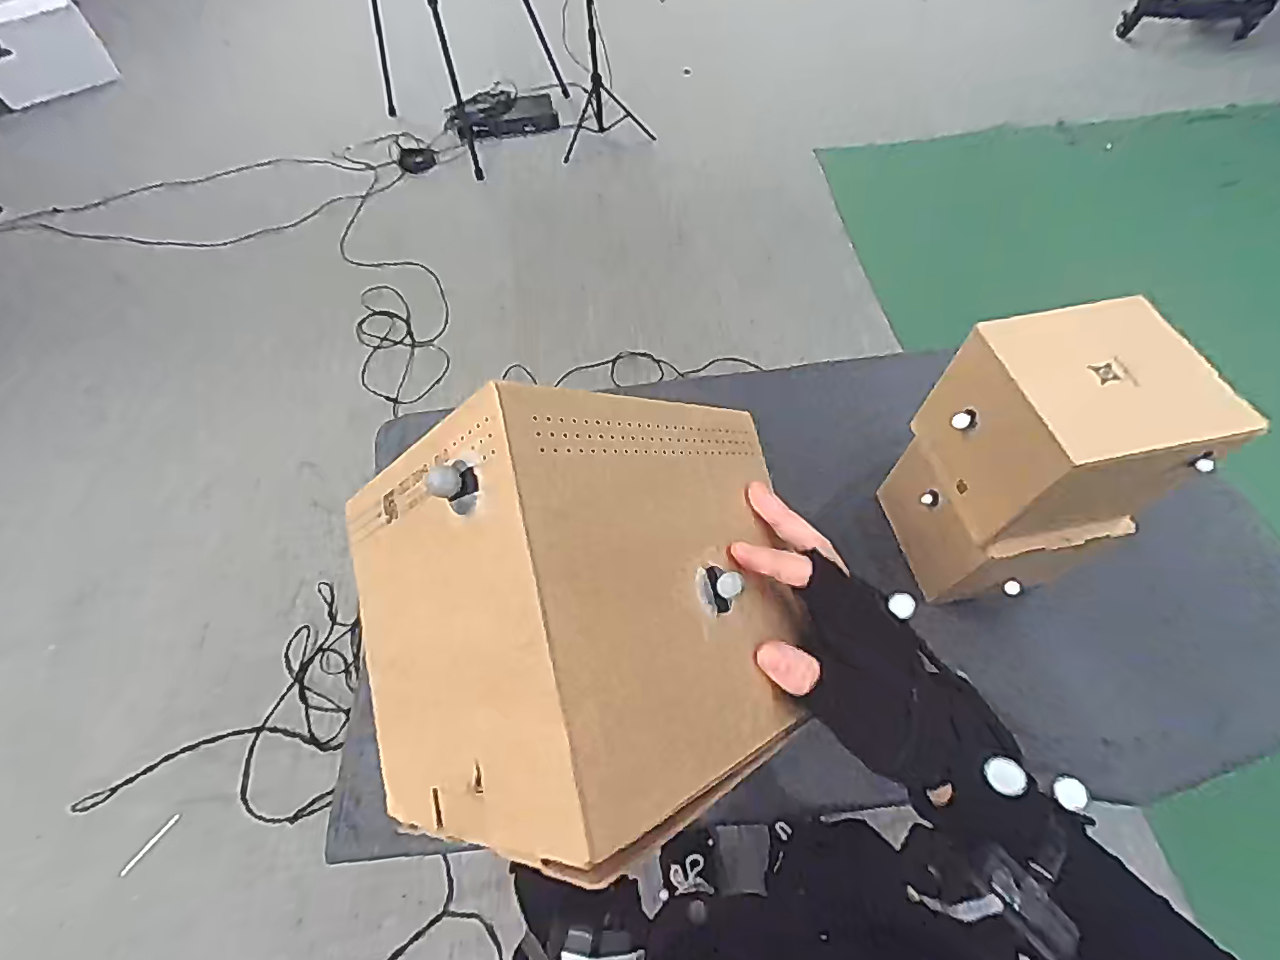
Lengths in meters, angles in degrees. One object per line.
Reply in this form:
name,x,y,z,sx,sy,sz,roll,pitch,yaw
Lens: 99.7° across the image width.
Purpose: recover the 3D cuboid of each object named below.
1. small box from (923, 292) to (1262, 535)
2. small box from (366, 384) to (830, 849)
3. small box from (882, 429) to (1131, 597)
small box,0.421,-0.059,0.551,0.179,0.176,0.168,-11,60,-4
small box,-0.030,0.059,0.297,0.179,0.168,0.176,-2,75,-45
small box,0.438,0.030,0.687,0.168,0.176,0.179,-10,61,-3
